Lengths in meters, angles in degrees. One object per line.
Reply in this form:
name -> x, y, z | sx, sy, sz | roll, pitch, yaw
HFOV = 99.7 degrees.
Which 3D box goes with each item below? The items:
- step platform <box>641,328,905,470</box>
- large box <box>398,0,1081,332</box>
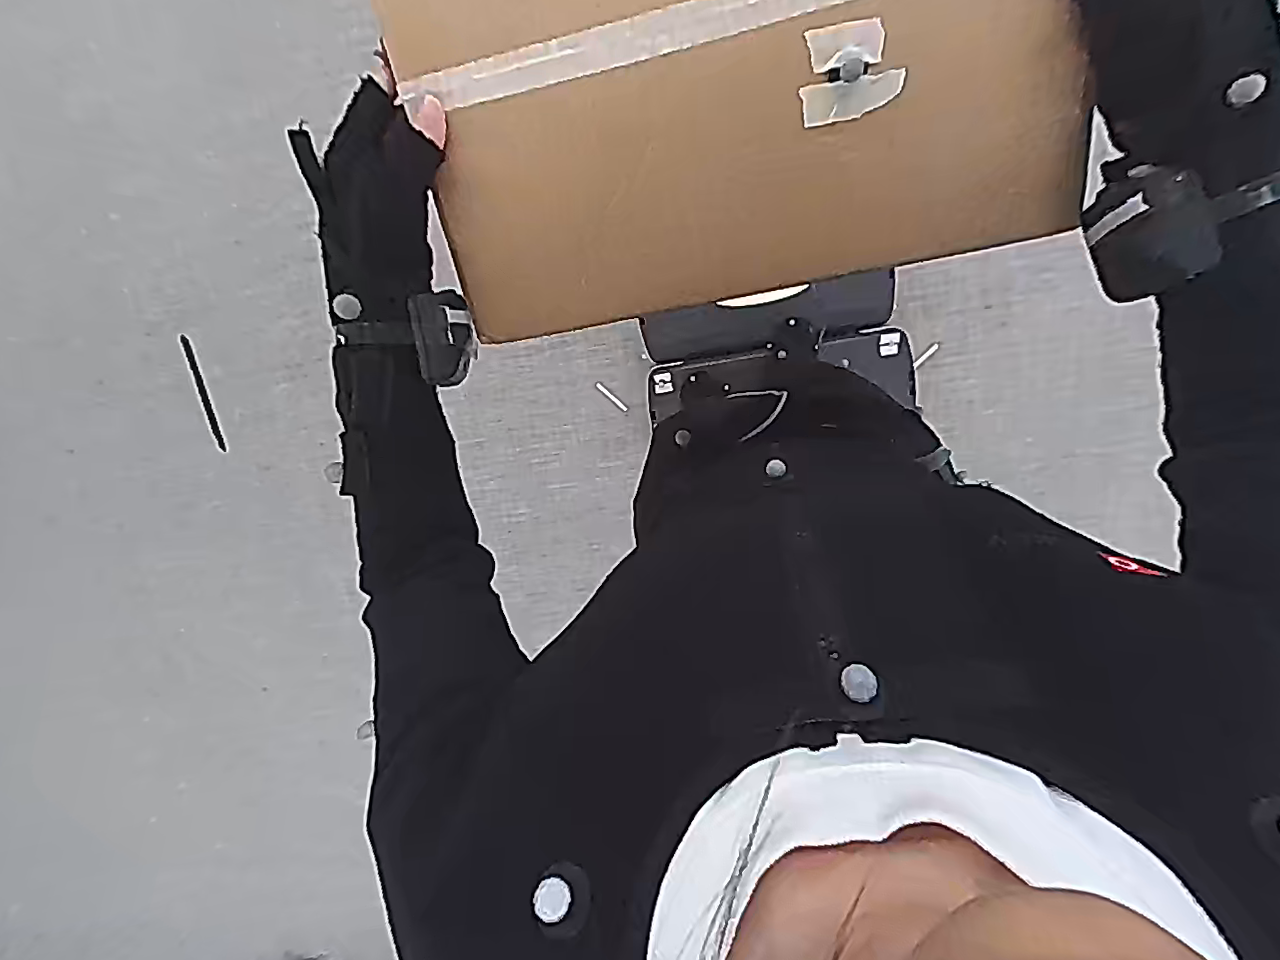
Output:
step platform -> 0.346, -0.214, 1.482 | 0.684, 0.204, 0.286 | -8, 102, 12
large box -> 0.063, -0.338, 0.463 | 0.408, 0.320, 0.320 | -9, 113, 8
